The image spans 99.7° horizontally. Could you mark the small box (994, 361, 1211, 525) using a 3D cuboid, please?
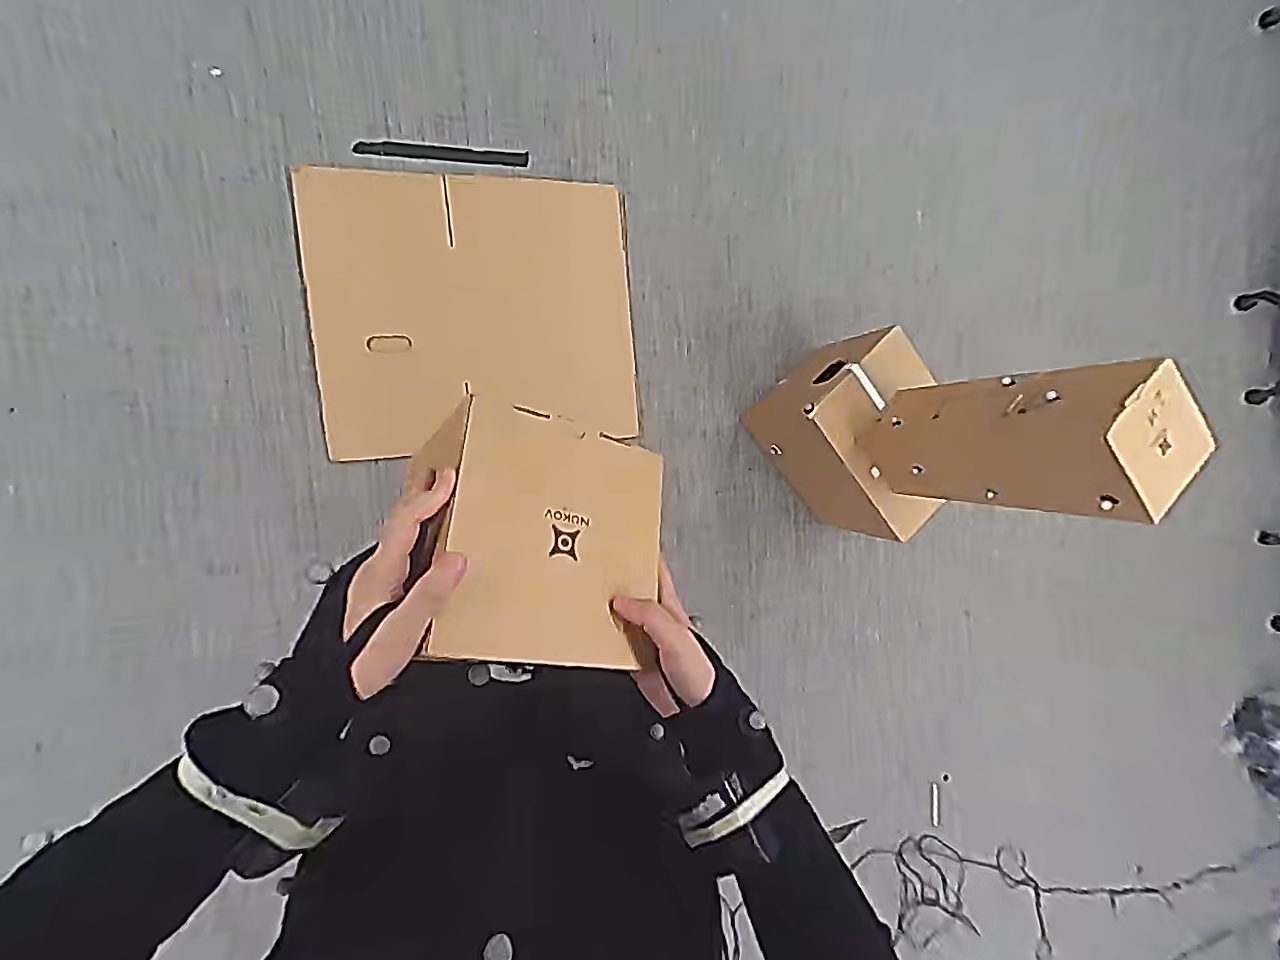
[{"bbox_3d":[0.702,-0.057,0.833,0.168,0.176,0.179,-45,105,-11],"label":"small box"}]

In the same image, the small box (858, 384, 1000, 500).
[{"bbox_3d":[0.605,-0.078,1.147,0.168,0.176,0.179,-46,106,-9],"label":"small box"}]
